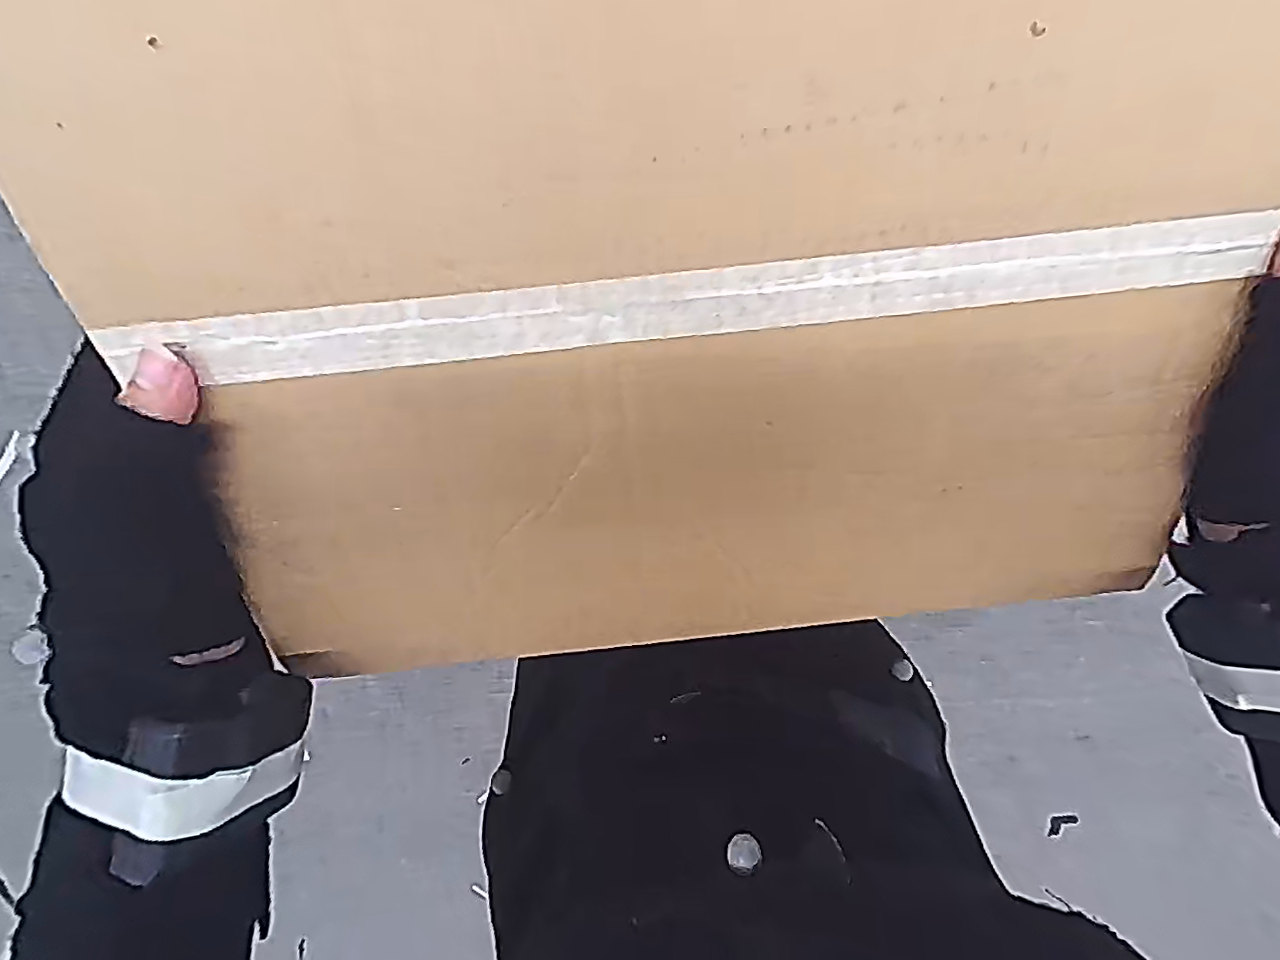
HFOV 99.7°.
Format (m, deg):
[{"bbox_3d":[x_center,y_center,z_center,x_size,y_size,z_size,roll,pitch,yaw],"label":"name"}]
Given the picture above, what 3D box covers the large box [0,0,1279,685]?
[{"bbox_3d":[0.016,-0.127,0.323,0.408,0.320,0.320,-7,119,-1],"label":"large box"}]
